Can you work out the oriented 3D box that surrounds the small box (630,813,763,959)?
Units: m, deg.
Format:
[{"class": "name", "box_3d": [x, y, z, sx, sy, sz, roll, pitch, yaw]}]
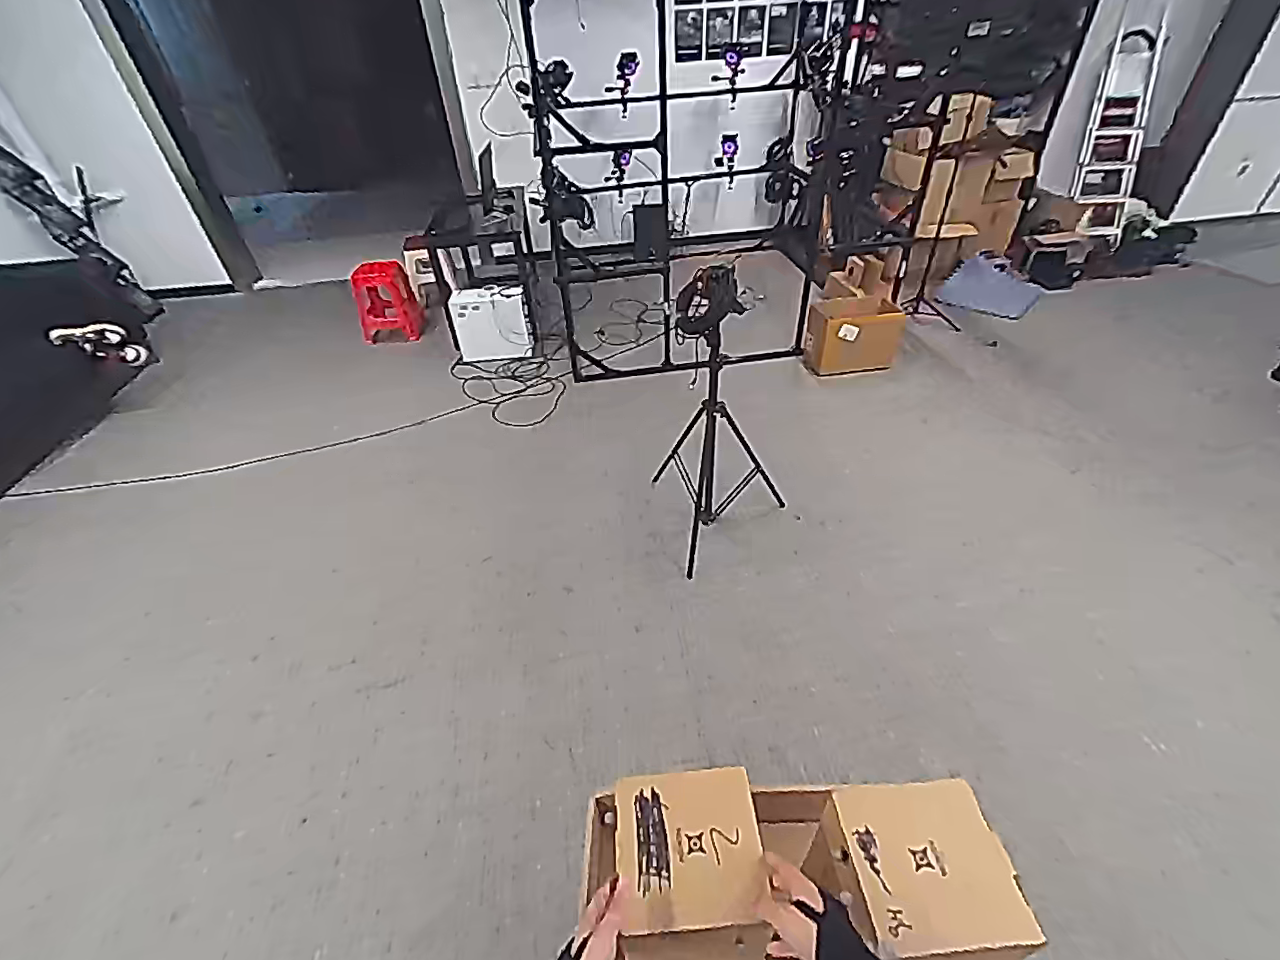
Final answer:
[{"class": "small box", "box_3d": [0.075, 0.627, 0.797, 0.168, 0.176, 0.179, -7, 39, -1]}]

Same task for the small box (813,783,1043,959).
[{"class": "small box", "box_3d": [0.334, 0.502, 0.672, 0.179, 0.176, 0.168, -4, 39, -1]}]

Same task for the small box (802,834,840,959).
[{"class": "small box", "box_3d": [0.341, 0.631, 0.774, 0.168, 0.176, 0.179, -3, 39, 1]}]
